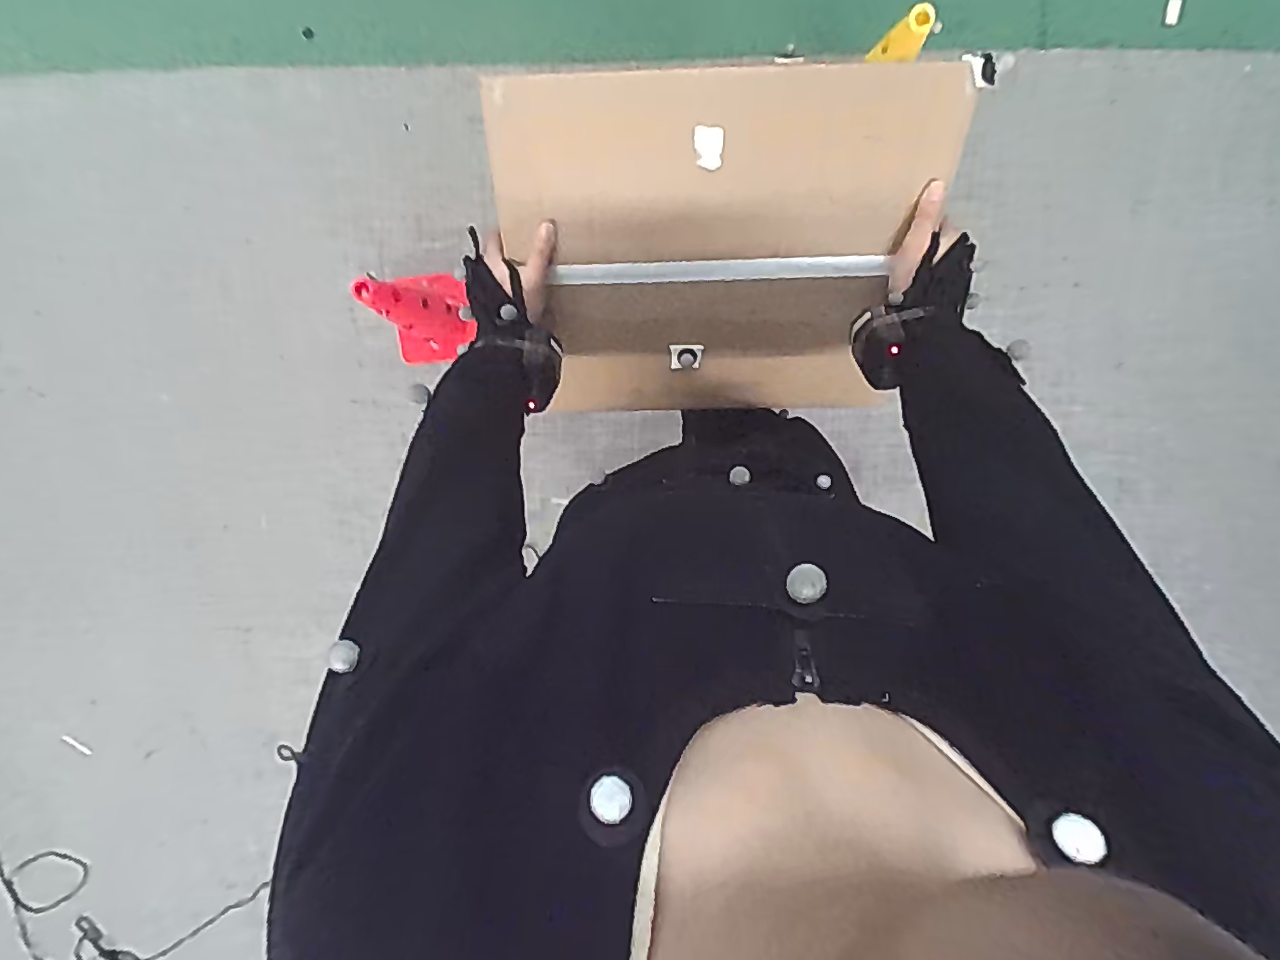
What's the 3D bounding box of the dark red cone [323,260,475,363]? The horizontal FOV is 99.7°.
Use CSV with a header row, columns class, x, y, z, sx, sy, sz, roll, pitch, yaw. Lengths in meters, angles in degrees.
class,x,y,z,sx,sy,sz,roll,pitch,yaw
dark red cone,-0.490,-0.361,1.077,0.202,0.394,0.201,-7,96,3
